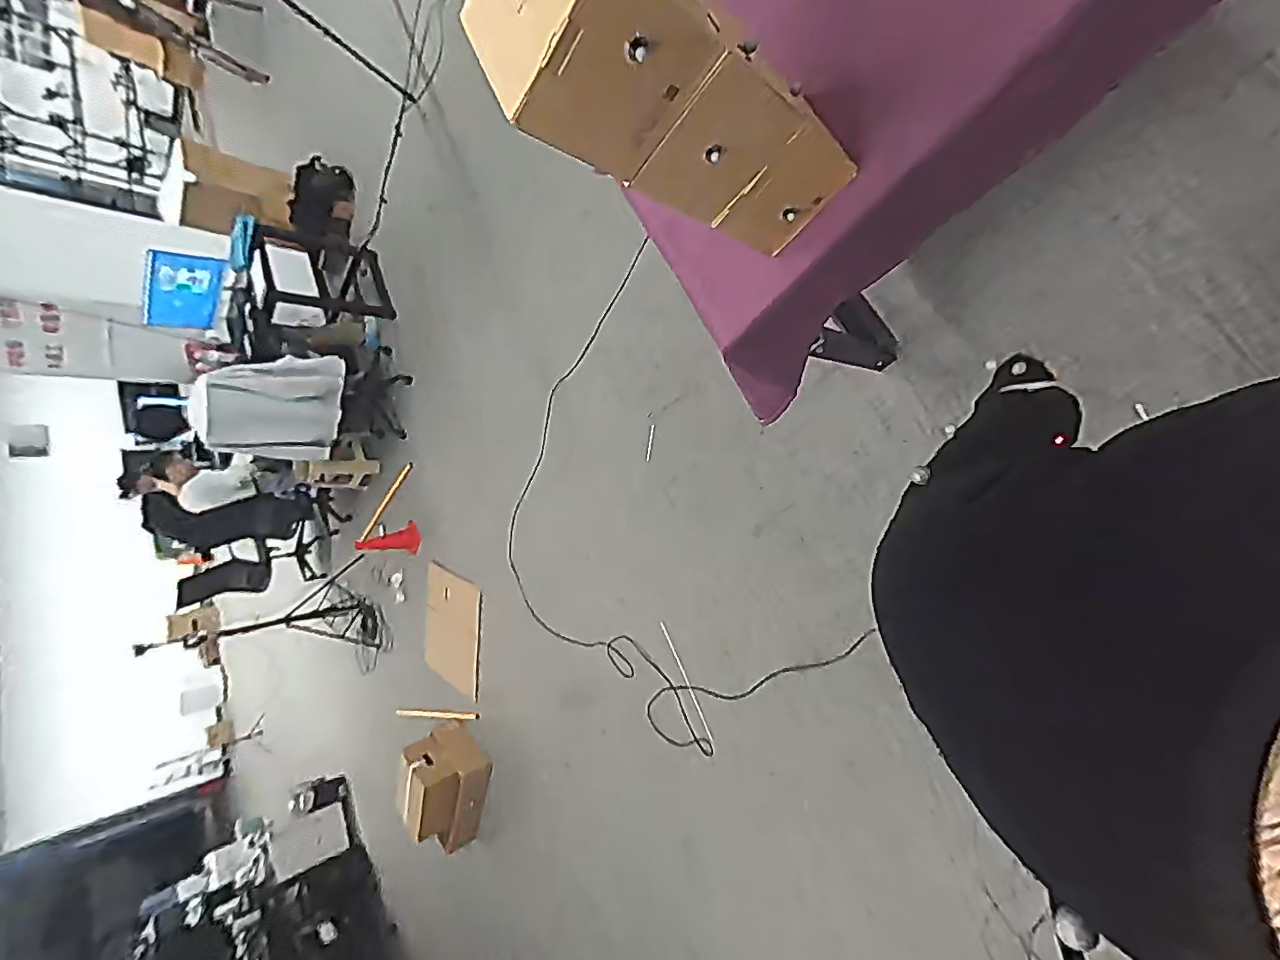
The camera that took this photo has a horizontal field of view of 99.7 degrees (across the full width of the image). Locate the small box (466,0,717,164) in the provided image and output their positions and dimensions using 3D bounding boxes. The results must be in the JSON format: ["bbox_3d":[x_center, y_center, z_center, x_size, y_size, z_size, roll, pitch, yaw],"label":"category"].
[{"bbox_3d":[-0.050,-0.469,0.564,0.168,0.176,0.179,-38,67,38],"label":"small box"}]

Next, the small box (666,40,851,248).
[{"bbox_3d":[0.176,-0.479,0.802,0.168,0.176,0.179,-39,67,38],"label":"small box"}]
